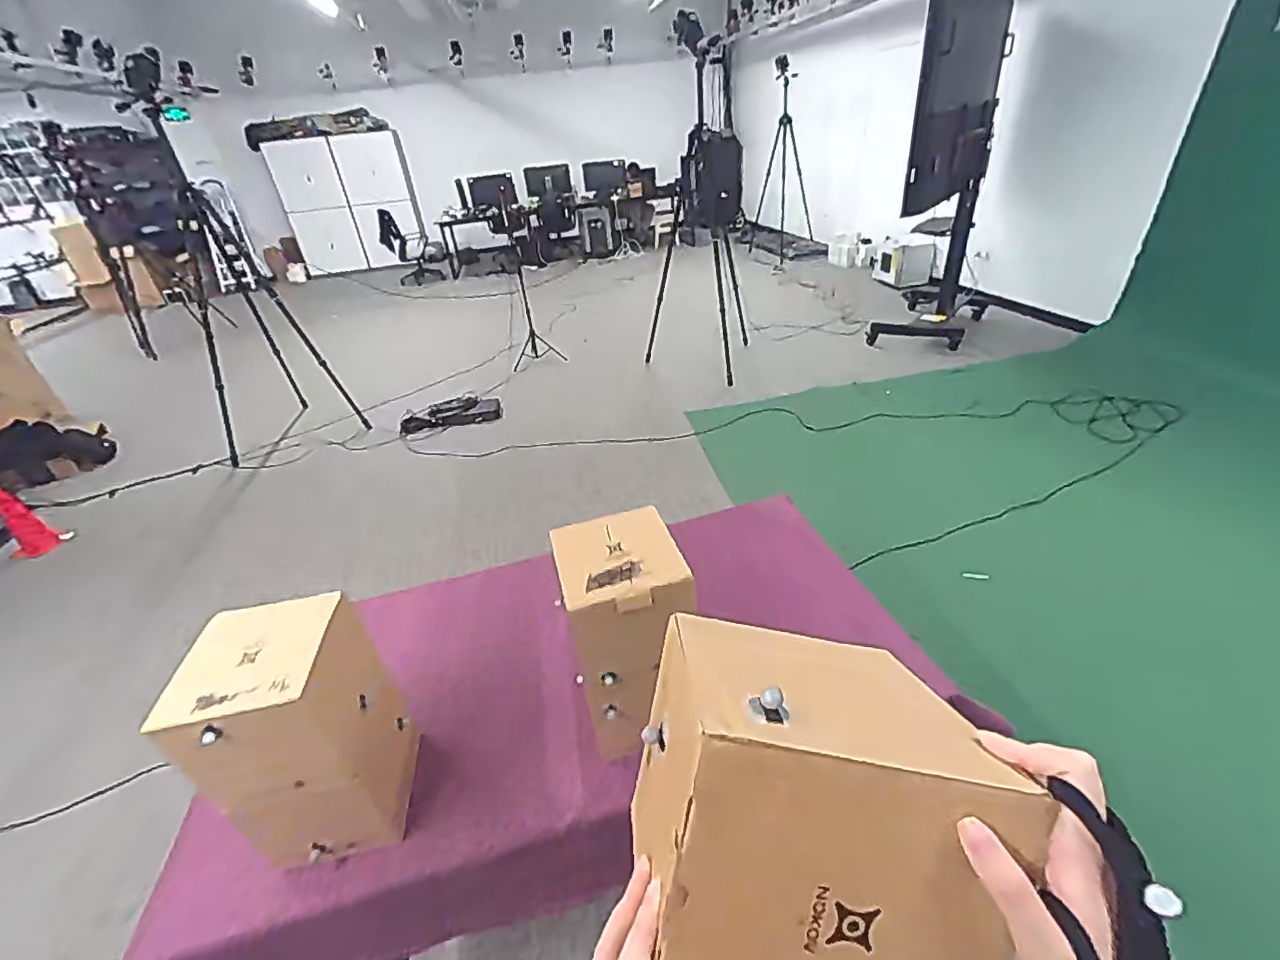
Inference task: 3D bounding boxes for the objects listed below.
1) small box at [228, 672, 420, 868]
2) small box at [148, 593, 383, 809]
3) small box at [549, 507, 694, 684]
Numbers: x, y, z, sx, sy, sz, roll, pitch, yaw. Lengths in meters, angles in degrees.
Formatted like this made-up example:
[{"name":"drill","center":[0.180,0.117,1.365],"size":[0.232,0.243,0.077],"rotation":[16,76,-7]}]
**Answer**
[{"name":"small box","center":[-0.436,0.417,0.786],"size":[0.168,0.176,0.179],"rotation":[-11,33,-5]},{"name":"small box","center":[-0.454,0.279,0.696],"size":[0.168,0.176,0.179],"rotation":[-12,32,-5]},{"name":"small box","center":[-0.026,0.170,0.786],"size":[0.168,0.176,0.179],"rotation":[-14,32,-10]}]
